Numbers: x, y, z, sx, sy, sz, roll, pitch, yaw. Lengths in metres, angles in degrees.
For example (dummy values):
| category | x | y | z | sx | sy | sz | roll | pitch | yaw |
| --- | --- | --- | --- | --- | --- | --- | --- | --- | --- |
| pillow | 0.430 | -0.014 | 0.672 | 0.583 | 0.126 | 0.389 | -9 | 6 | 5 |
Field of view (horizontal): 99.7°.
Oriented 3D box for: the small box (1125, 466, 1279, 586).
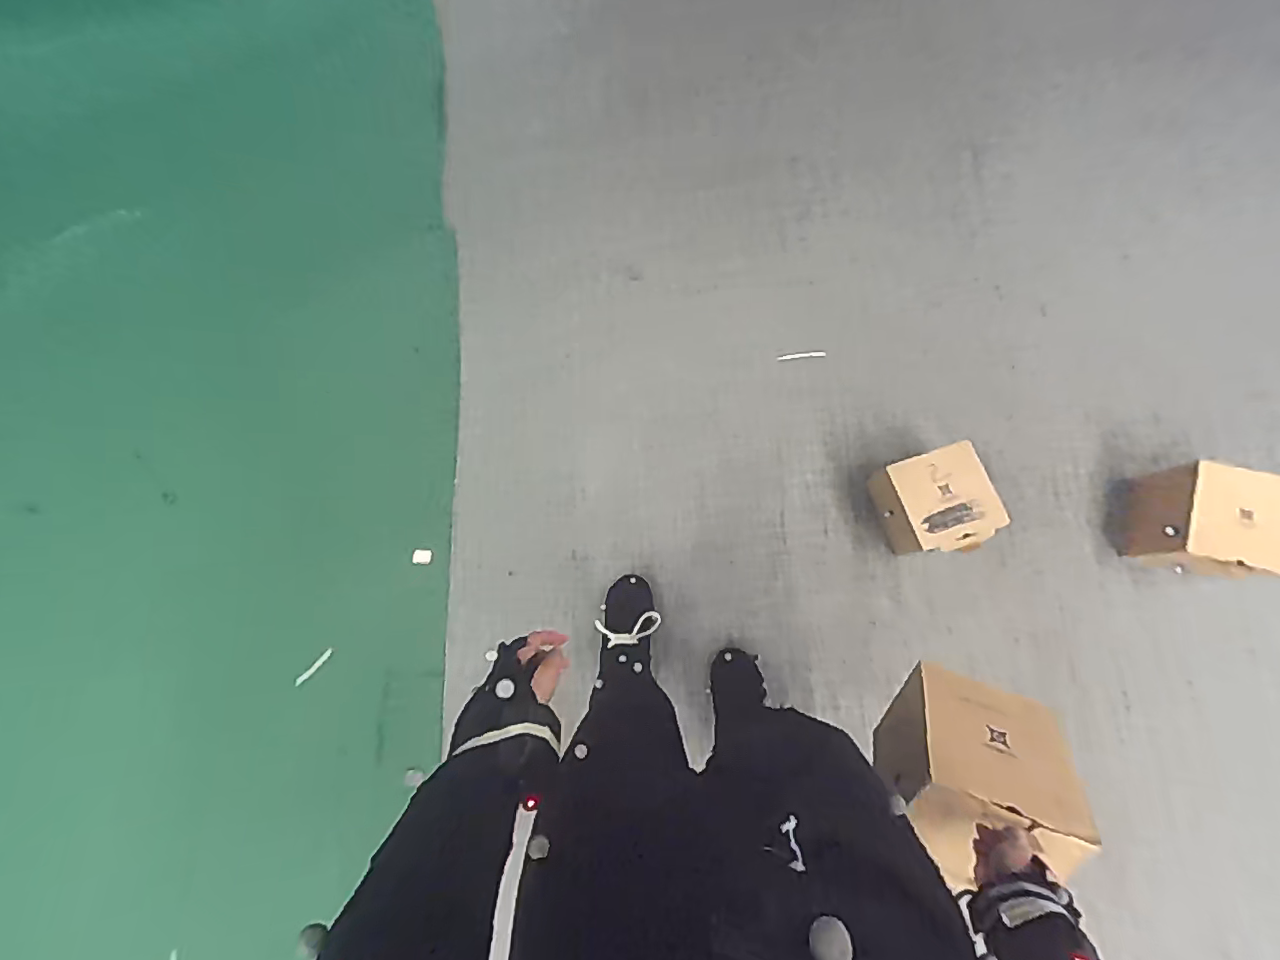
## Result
| category | x | y | z | sx | sy | sz | roll | pitch | yaw |
| --- | --- | --- | --- | --- | --- | --- | --- | --- | --- |
| small box | 1.065 | 0.092 | 1.014 | 0.168 | 0.176 | 0.179 | 15 | 82 | 11 |
